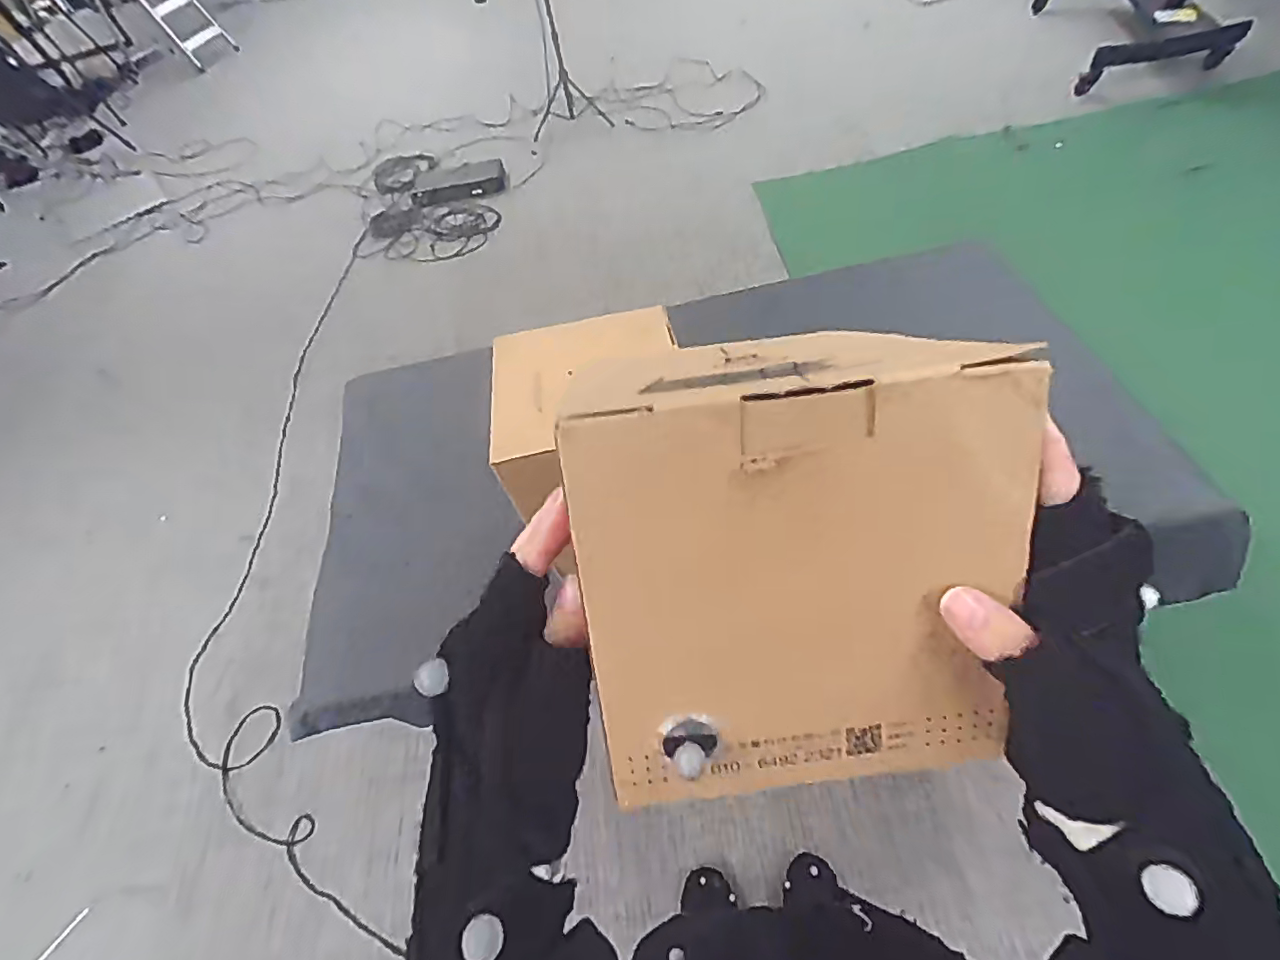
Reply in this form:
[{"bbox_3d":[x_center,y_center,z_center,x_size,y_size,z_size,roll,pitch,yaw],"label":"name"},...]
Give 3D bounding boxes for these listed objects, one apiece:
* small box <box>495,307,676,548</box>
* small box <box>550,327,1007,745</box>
[{"bbox_3d":[-0.037,-0.048,0.567,0.179,0.176,0.168,-11,53,3],"label":"small box"},{"bbox_3d":[0.054,0.017,0.291,0.168,0.176,0.179,-6,18,-1],"label":"small box"}]
